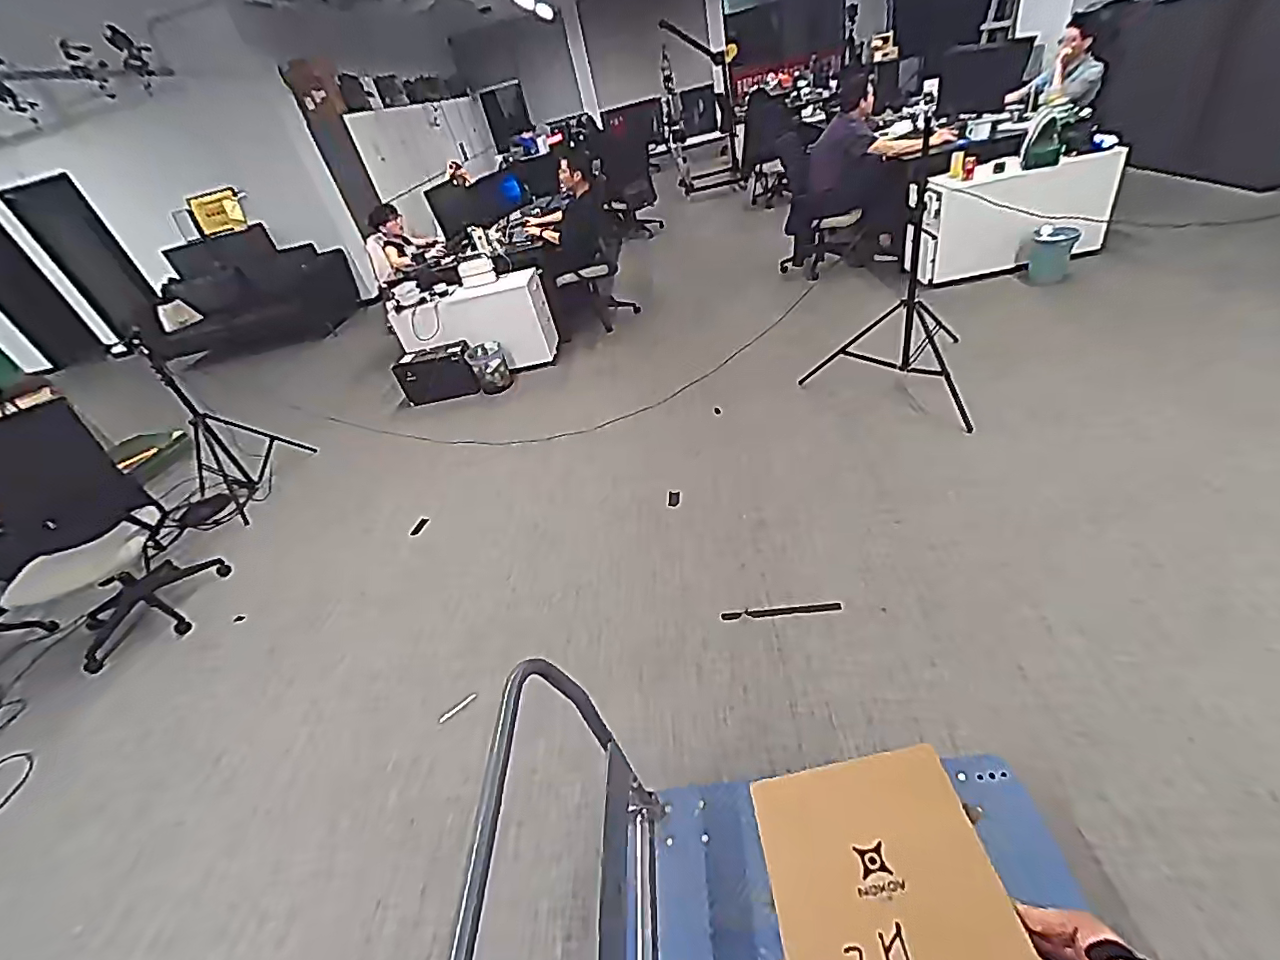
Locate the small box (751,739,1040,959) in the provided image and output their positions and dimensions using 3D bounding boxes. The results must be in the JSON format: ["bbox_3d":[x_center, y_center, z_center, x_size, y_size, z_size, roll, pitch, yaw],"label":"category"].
[{"bbox_3d":[0.207,0.359,0.458,0.168,0.176,0.179,-19,34,10],"label":"small box"}]
